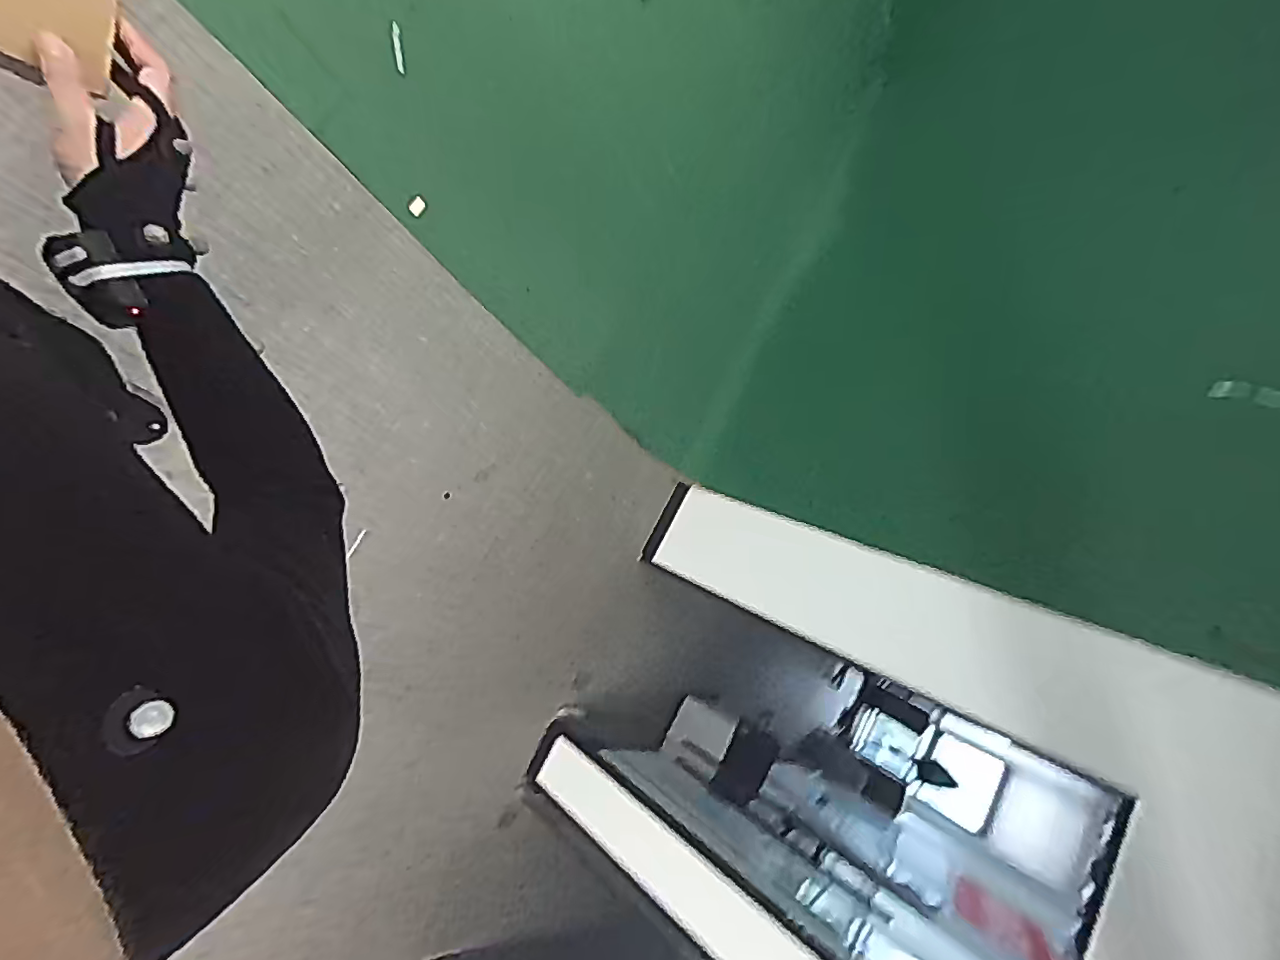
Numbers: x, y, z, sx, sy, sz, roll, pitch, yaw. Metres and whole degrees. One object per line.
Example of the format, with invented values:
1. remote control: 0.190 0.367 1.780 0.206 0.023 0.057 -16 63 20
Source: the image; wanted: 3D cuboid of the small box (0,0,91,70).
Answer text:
1. small box: -0.497 -0.409 0.361 0.179 0.176 0.168 4 109 -54
